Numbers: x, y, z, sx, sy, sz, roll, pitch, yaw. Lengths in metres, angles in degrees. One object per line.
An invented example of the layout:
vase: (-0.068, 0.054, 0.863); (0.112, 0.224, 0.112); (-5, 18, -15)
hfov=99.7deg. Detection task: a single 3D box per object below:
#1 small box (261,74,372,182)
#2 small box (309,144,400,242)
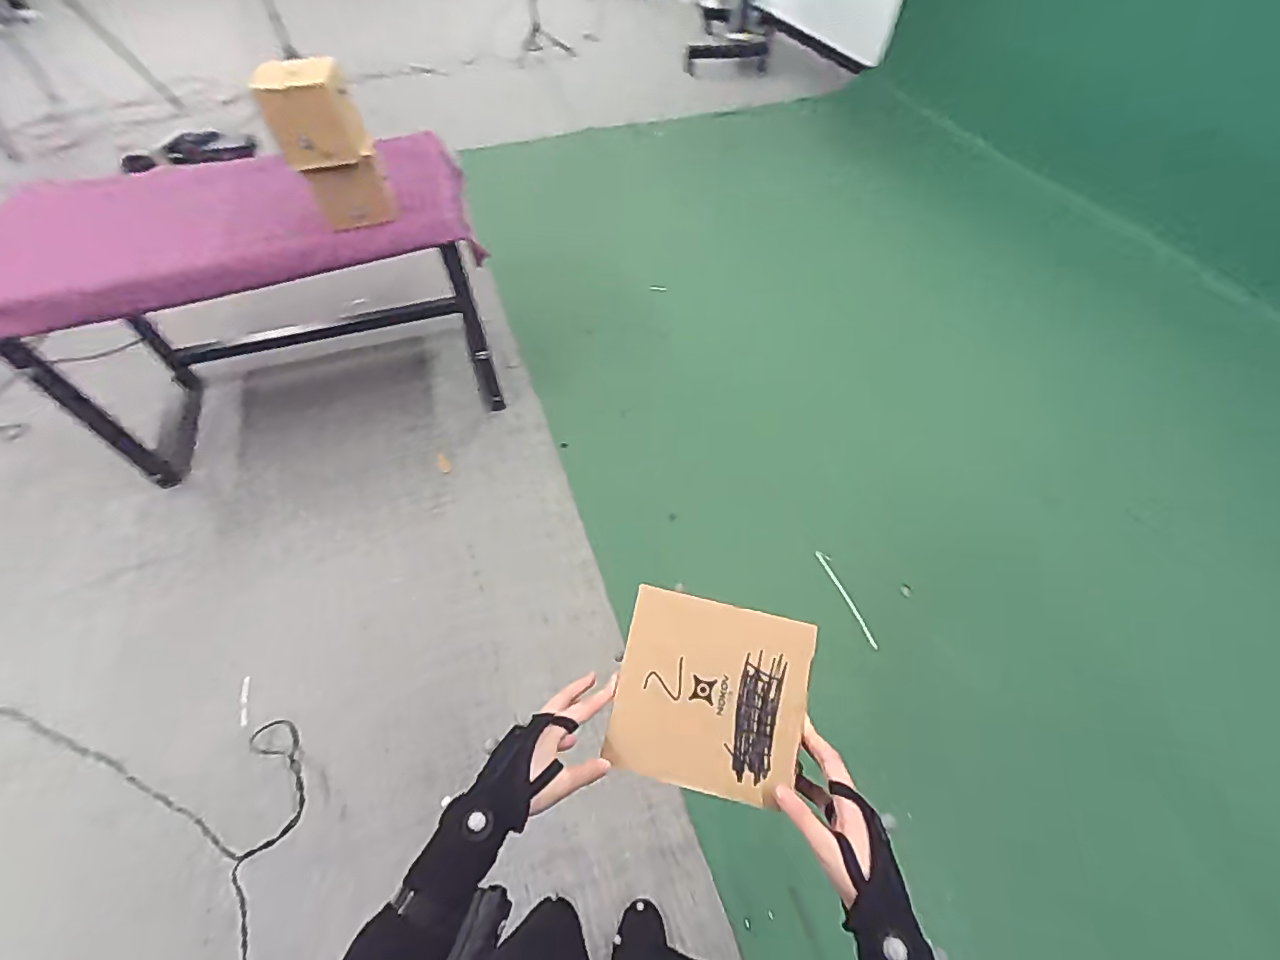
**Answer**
small box: (-0.768, -0.849, 1.307); (0.168, 0.176, 0.179); (-10, 53, -6)
small box: (-0.757, -0.768, 1.450); (0.179, 0.176, 0.168); (-16, 53, -11)
